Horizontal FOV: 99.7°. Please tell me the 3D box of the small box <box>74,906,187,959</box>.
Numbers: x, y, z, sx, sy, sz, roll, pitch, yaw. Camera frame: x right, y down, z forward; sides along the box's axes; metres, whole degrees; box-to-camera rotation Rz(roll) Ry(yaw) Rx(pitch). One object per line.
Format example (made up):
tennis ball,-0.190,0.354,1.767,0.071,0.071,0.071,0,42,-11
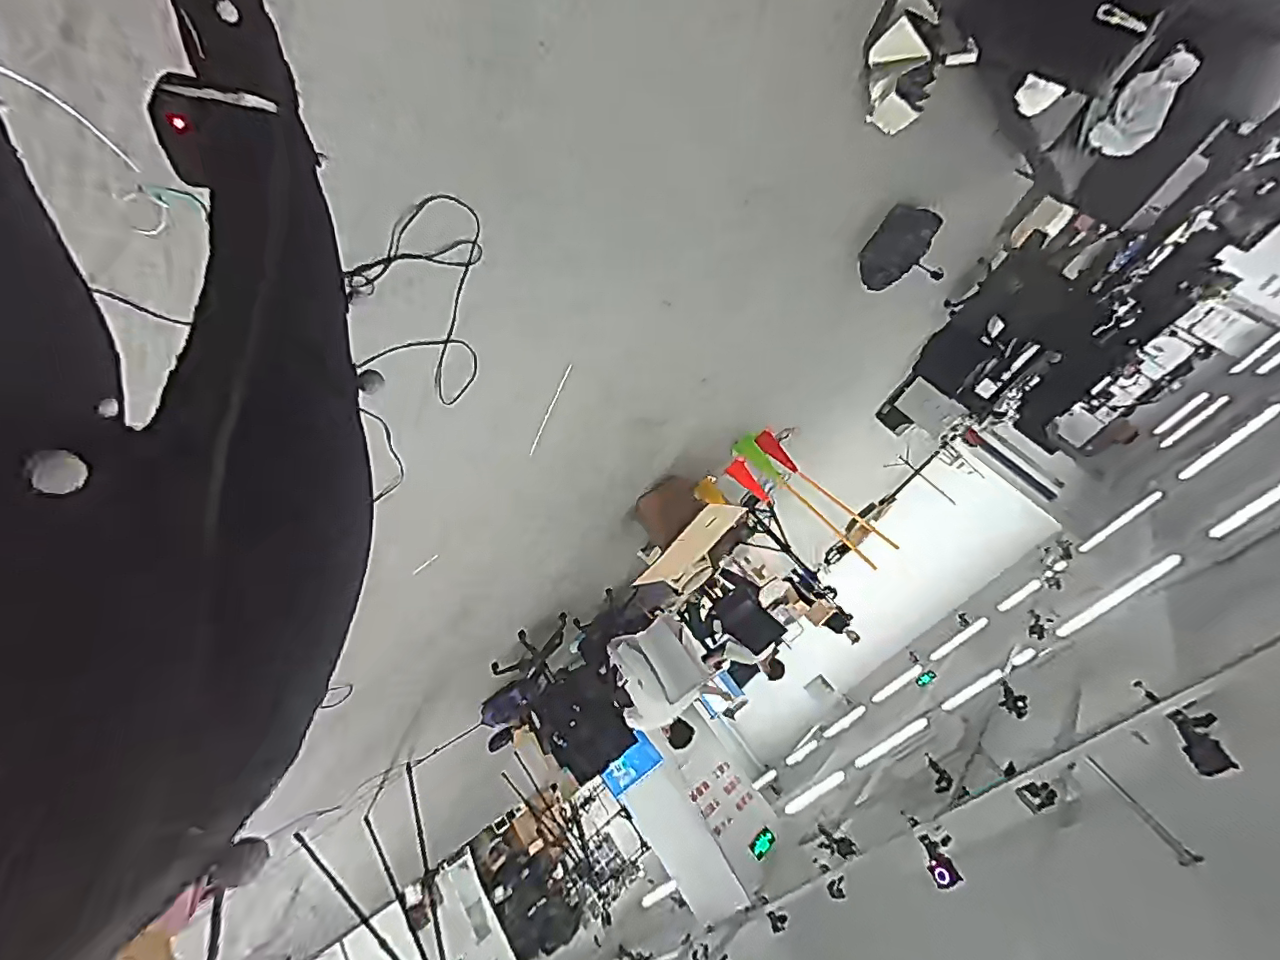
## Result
small box,-1.320,1.249,1.387,0.179,0.176,0.168,-47,155,14
